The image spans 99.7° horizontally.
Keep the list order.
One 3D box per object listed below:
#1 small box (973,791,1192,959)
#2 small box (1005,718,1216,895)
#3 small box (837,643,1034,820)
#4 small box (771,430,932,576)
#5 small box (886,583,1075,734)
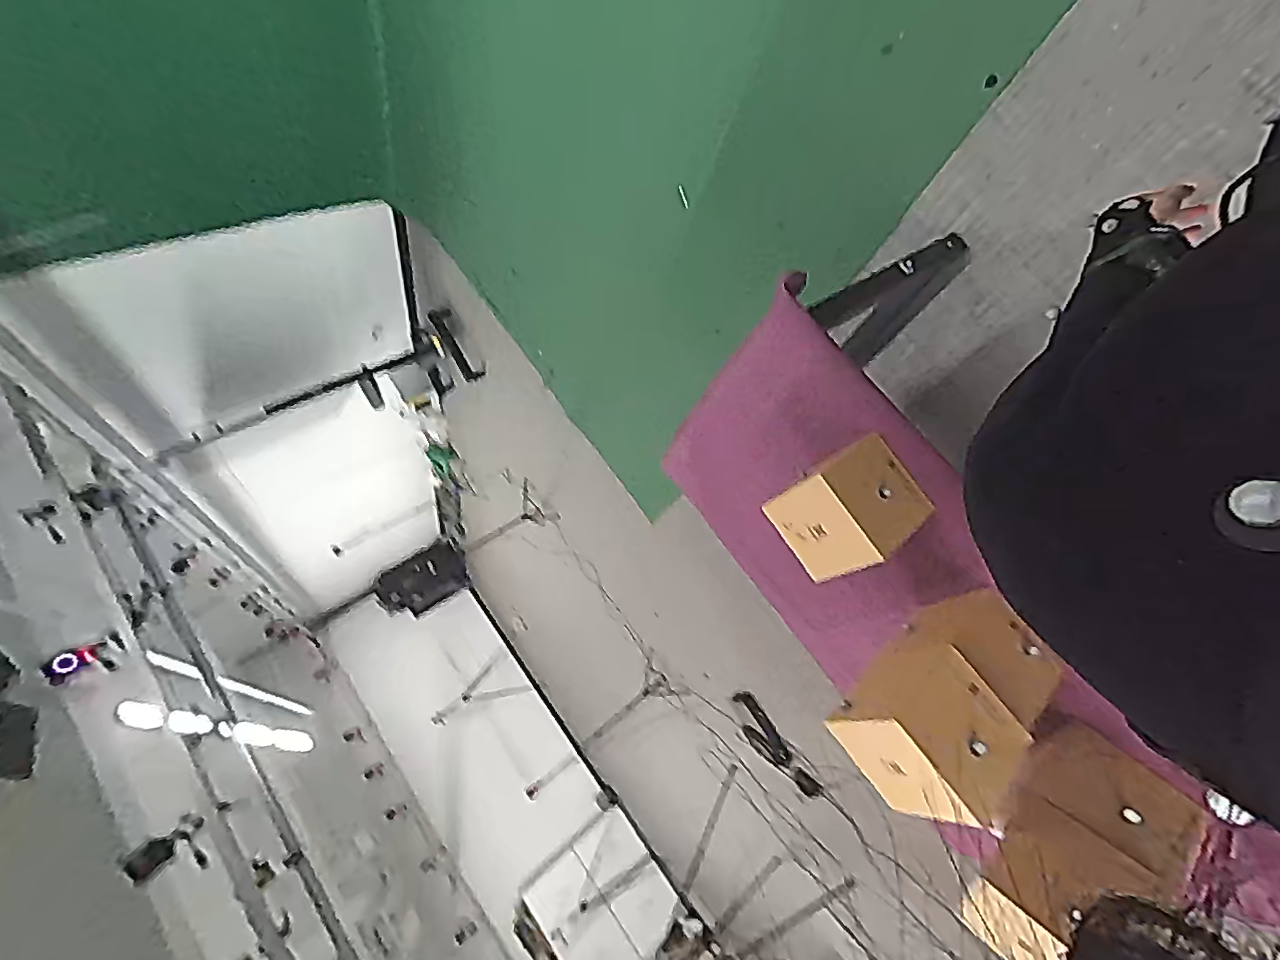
[{"bbox_3d":[0.612,0.589,0.757,0.179,0.176,0.168,31,142,43],"label":"small box"},{"bbox_3d":[0.731,0.517,0.848,0.179,0.176,0.168,38,146,33],"label":"small box"},{"bbox_3d":[0.445,0.367,0.813,0.168,0.176,0.179,51,153,11],"label":"small box"},{"bbox_3d":[0.373,0.039,0.944,0.168,0.176,0.179,55,152,7],"label":"small box"},{"bbox_3d":[0.563,0.299,0.902,0.168,0.176,0.179,52,152,10],"label":"small box"}]
